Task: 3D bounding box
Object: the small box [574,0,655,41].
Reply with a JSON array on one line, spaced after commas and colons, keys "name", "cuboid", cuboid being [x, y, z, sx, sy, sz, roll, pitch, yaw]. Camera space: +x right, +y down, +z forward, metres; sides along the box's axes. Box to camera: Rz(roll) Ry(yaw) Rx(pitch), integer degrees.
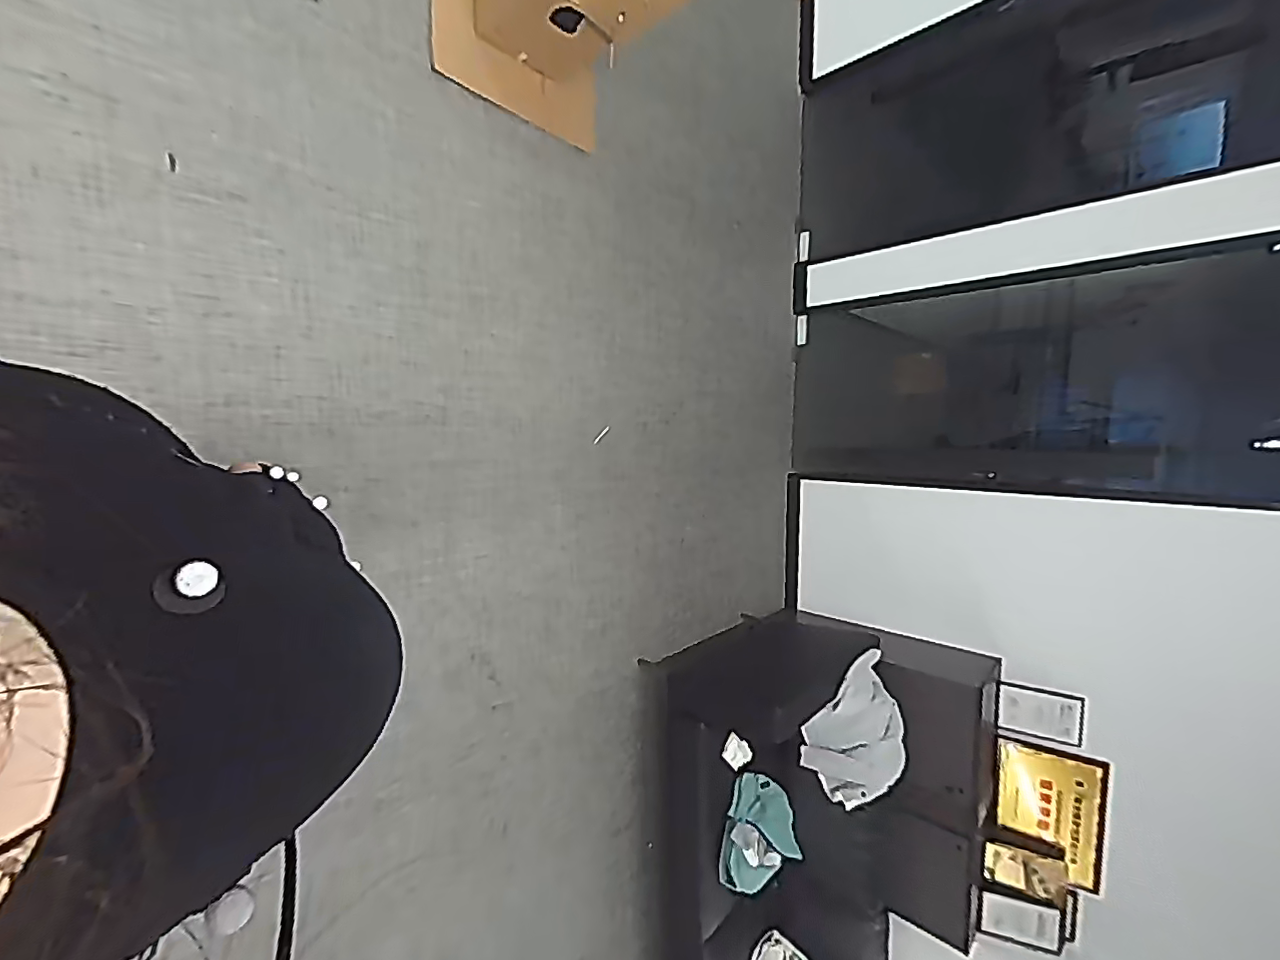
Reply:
[{"name": "small box", "cuboid": [-0.071, -1.370, 1.483, 0.168, 0.176, 0.179, 0, 91, -48]}]
